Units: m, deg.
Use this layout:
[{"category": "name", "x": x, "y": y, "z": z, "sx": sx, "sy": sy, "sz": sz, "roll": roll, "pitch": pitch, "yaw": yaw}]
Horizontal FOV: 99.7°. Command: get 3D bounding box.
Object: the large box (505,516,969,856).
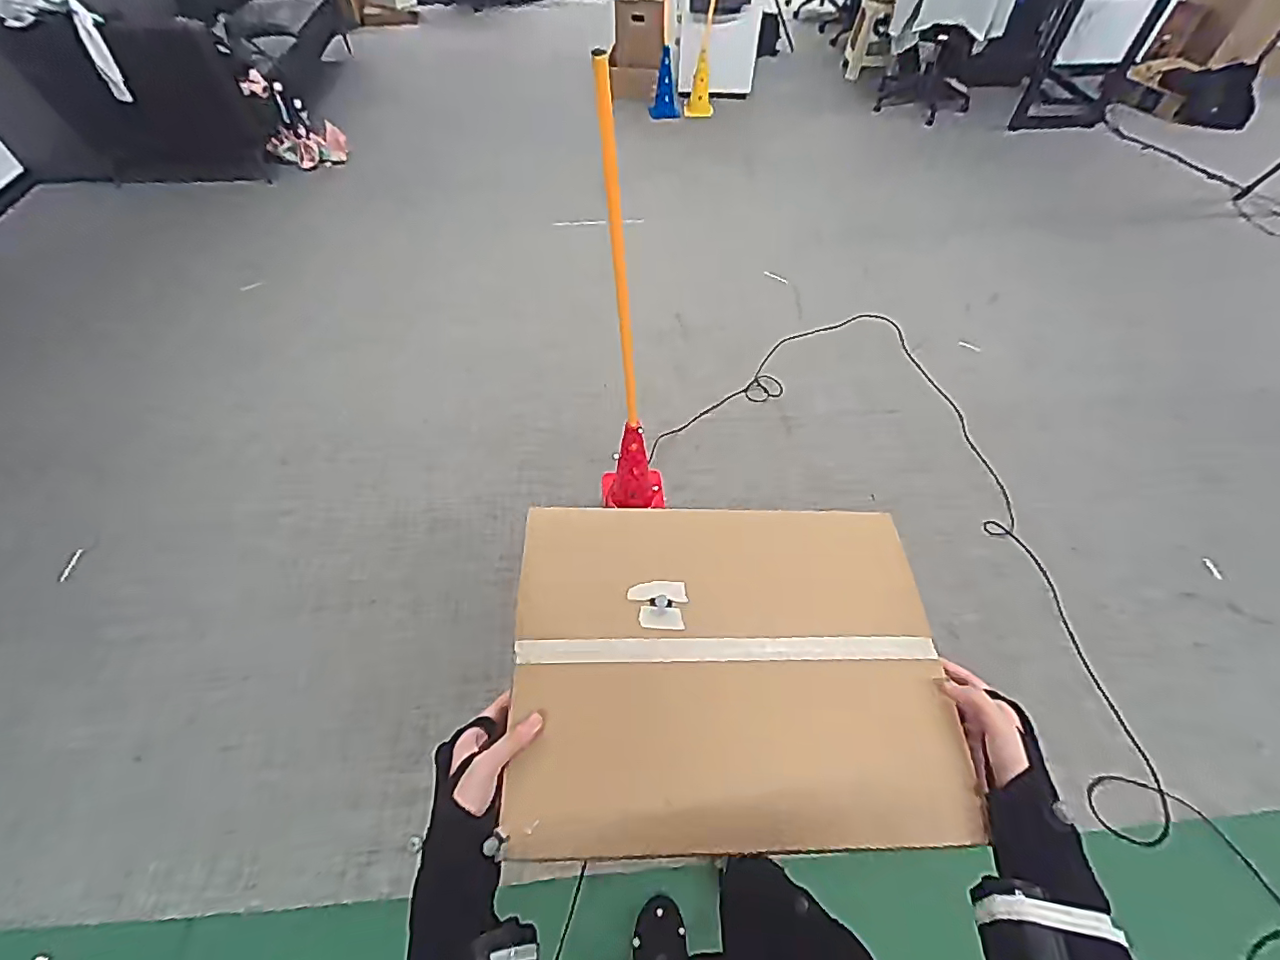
[{"category": "large box", "x": 0.075, "y": 0.251, "z": 0.654, "sx": 0.408, "sy": 0.320, "sz": 0.320, "roll": 1, "pitch": 56, "yaw": -4}]
